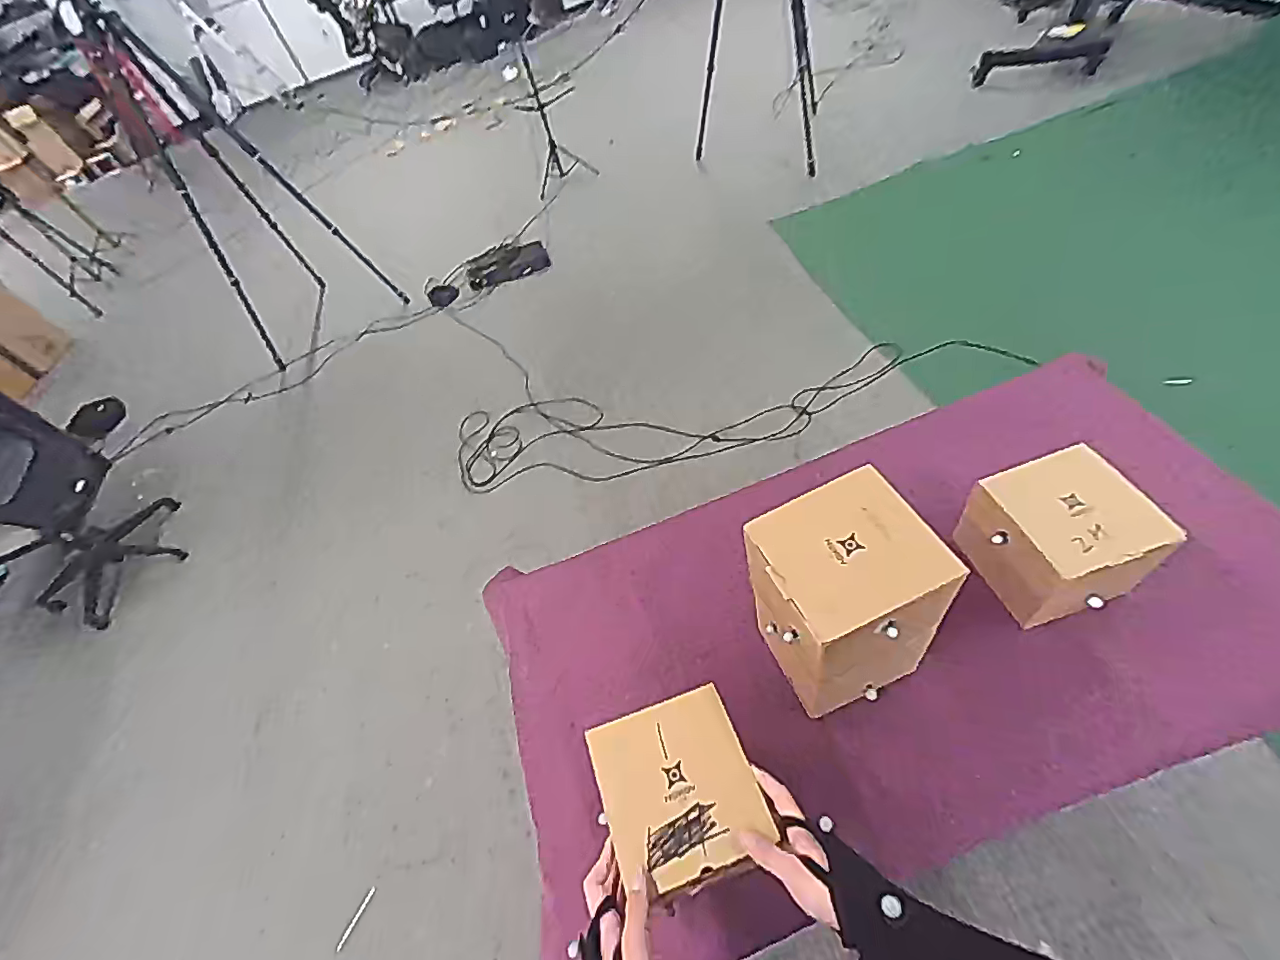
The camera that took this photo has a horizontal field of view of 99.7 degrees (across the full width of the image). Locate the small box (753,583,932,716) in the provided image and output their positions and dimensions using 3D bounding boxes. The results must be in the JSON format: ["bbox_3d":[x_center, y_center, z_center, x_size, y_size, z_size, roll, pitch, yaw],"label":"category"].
[{"bbox_3d":[0.281,0.215,0.790,0.179,0.176,0.168,-24,51,-4],"label":"small box"}]

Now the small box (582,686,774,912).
[{"bbox_3d":[0.042,0.381,0.646,0.168,0.176,0.179,-17,50,-9],"label":"small box"}]

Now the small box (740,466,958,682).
[{"bbox_3d":[0.243,0.121,0.662,0.179,0.176,0.168,-25,52,-3],"label":"small box"}]

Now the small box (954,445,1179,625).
[{"bbox_3d":[0.601,0.084,0.797,0.168,0.176,0.179,-20,51,1],"label":"small box"}]
